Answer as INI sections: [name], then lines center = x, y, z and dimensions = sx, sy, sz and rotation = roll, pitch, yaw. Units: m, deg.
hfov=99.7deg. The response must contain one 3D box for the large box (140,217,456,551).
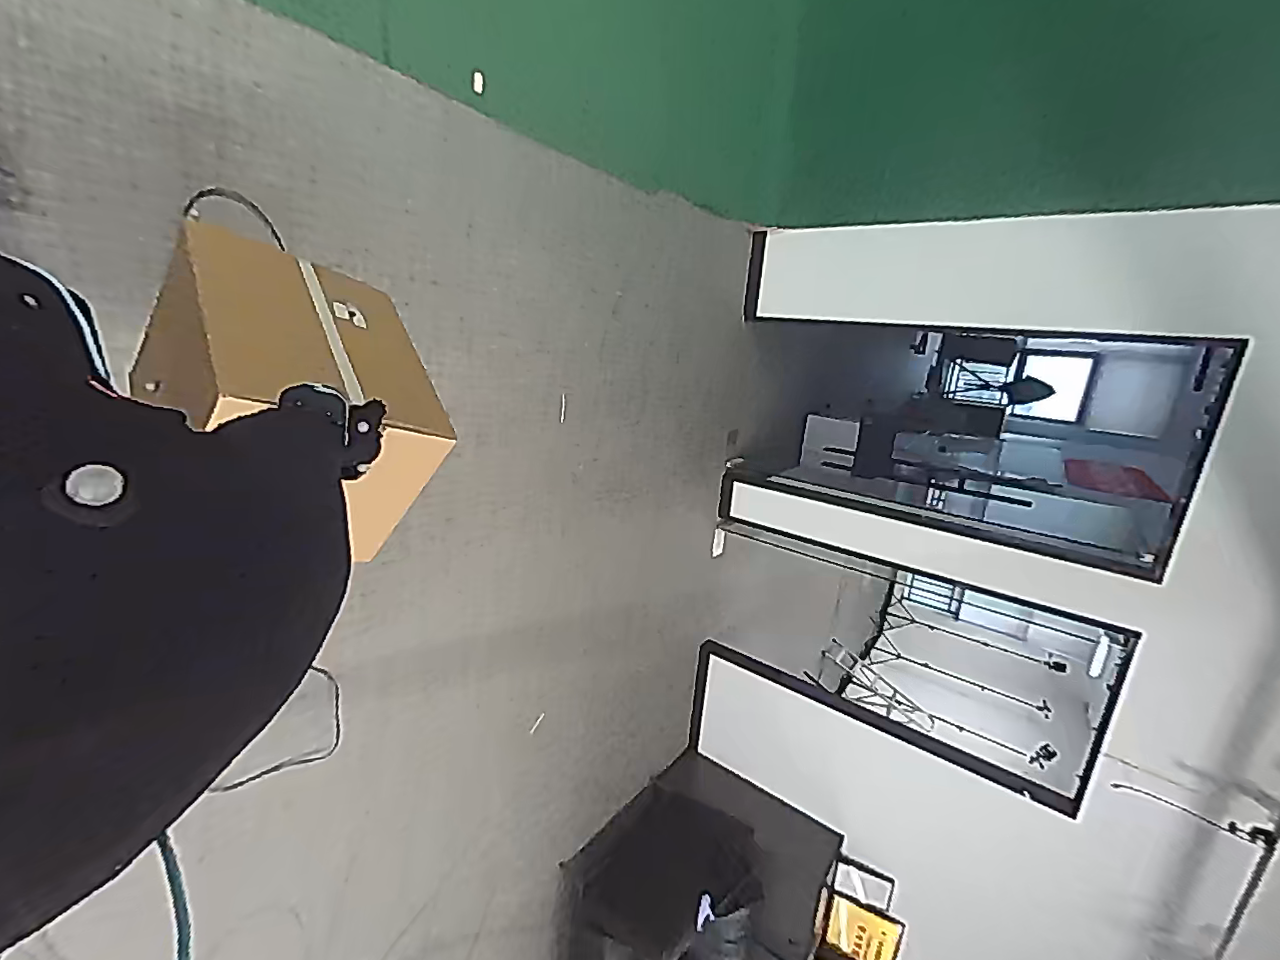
[large box]
center = -0.573, -0.132, 0.889
dimensions = 0.320, 0.408, 0.320
rotation = -47, 150, 22
